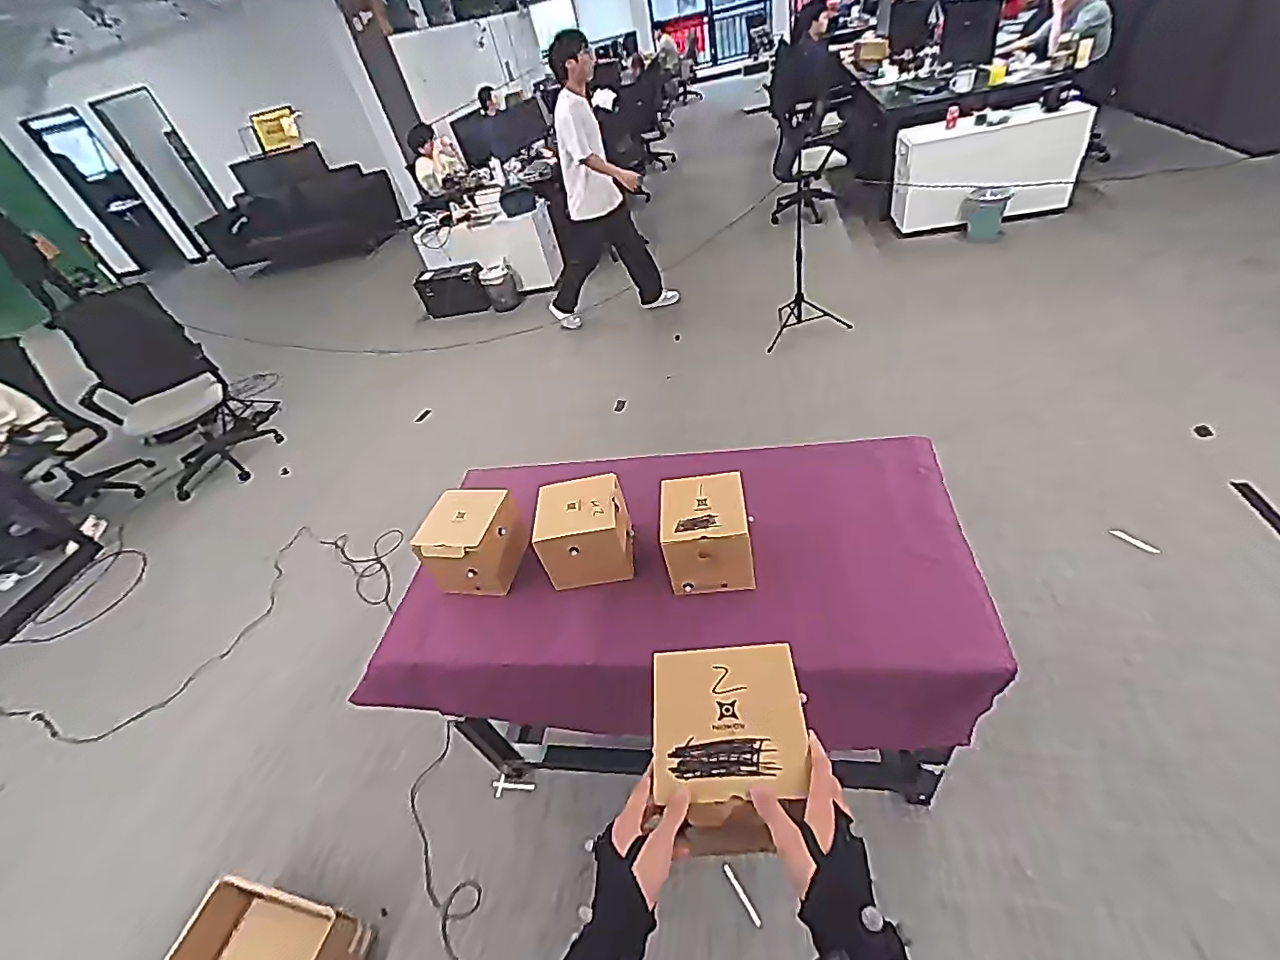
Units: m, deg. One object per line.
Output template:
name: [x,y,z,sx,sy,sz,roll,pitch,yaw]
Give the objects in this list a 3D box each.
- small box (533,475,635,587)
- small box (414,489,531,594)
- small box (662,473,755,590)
small box: [-0.114,0.116,1.180,0.179,0.176,0.168,-10,42,6]
small box: [-0.369,0.141,1.231,0.168,0.176,0.179,1,43,16]
small box: [0.141,0.113,1.108,0.168,0.176,0.179,-7,41,10]
